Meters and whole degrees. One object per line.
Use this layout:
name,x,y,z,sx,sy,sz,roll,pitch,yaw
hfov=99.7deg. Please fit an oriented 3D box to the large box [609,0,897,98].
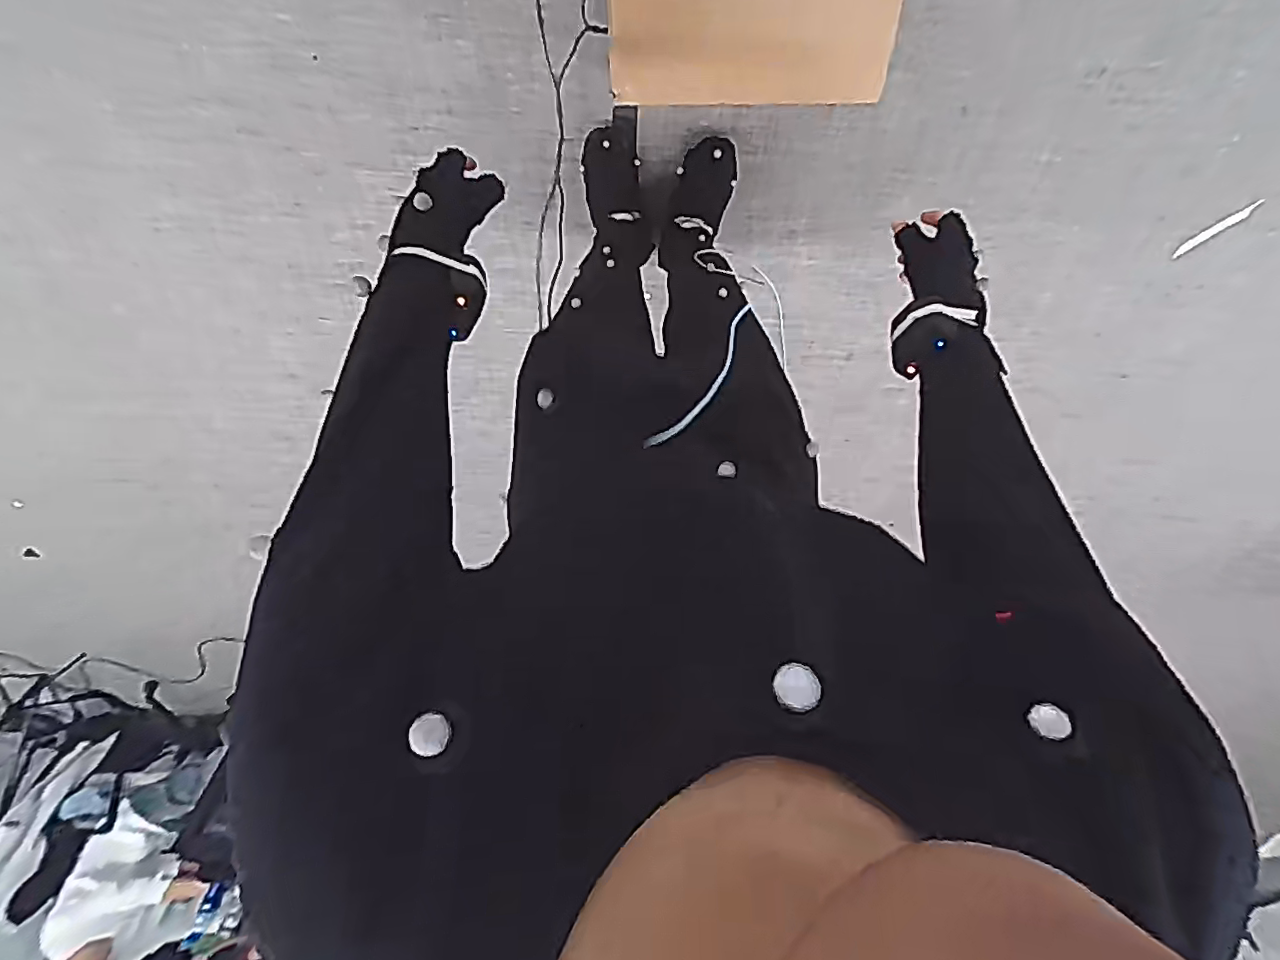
large box,0.162,-0.794,0.825,0.408,0.320,0.320,2,131,1
